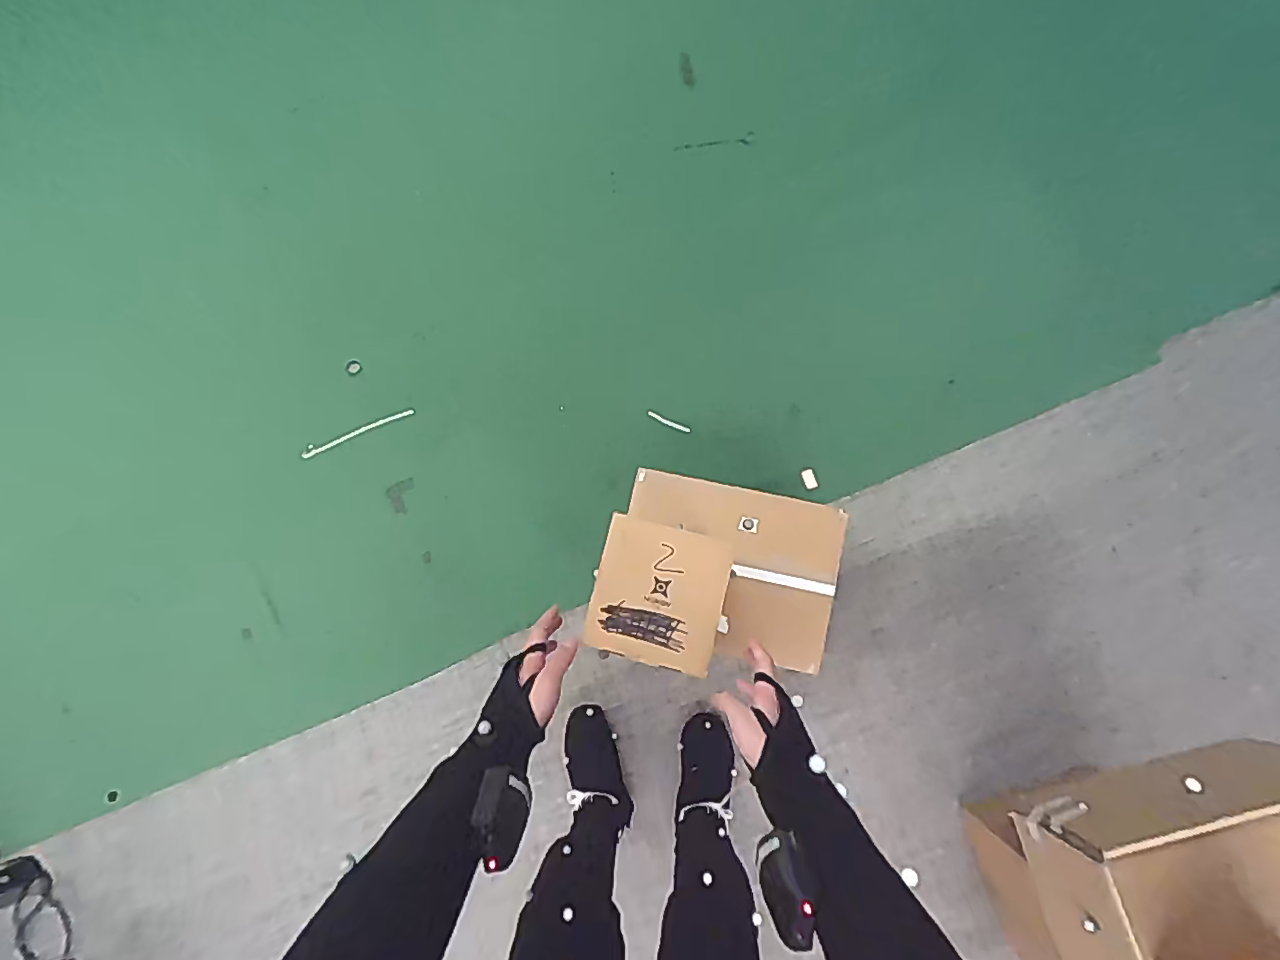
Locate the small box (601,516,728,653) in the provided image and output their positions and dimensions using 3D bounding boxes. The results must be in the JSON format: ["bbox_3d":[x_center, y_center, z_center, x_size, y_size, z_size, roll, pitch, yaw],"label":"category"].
[{"bbox_3d":[0.044,0.174,0.922,0.168,0.176,0.179,15,82,5],"label":"small box"}]
